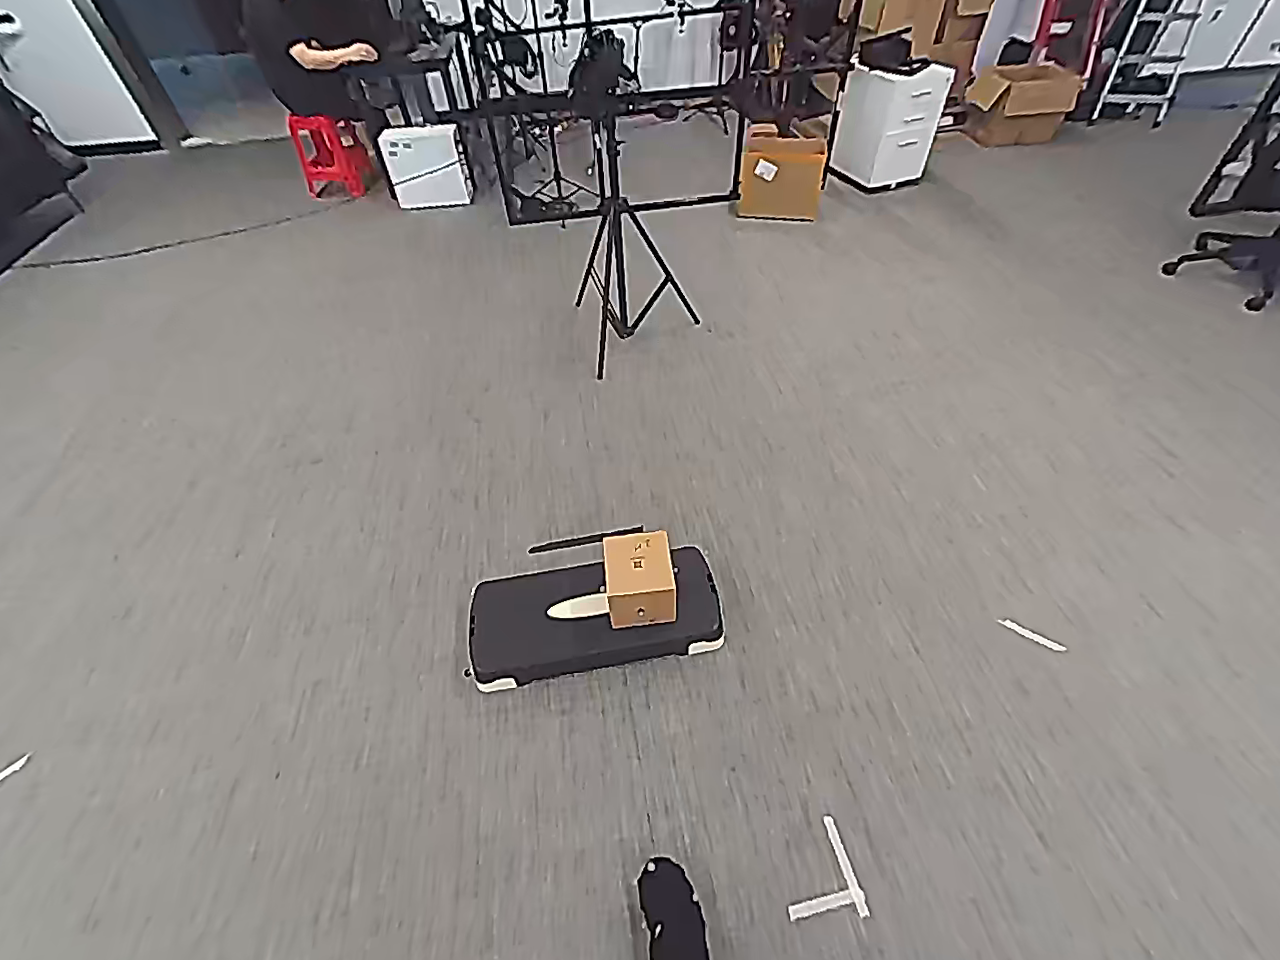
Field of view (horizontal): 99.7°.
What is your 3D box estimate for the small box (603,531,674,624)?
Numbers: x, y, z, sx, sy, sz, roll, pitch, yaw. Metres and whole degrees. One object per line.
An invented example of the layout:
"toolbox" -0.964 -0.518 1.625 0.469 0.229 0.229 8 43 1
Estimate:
"small box" -0.003 0.257 1.388 0.168 0.176 0.179 -6 48 -2
